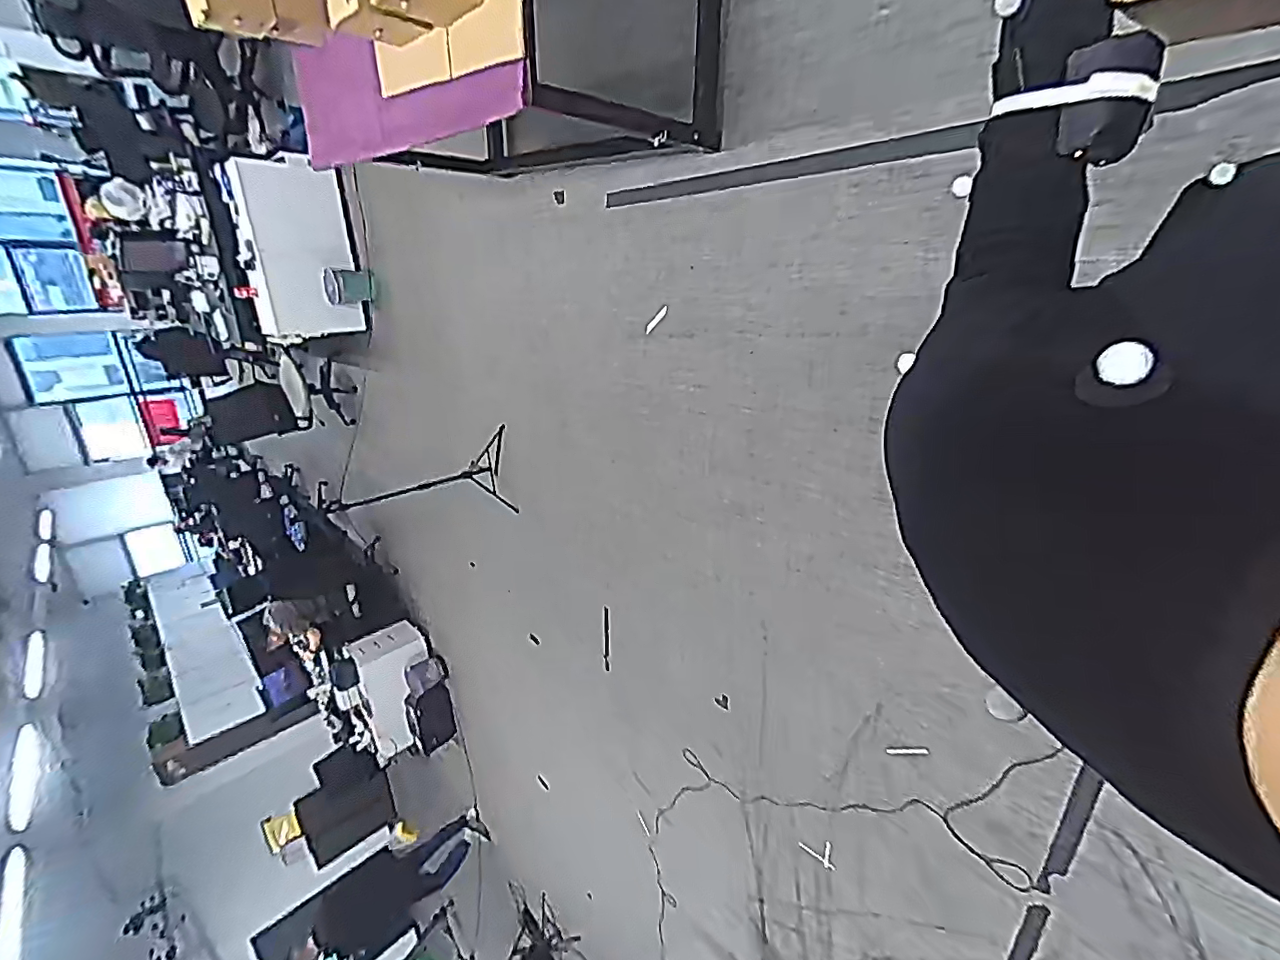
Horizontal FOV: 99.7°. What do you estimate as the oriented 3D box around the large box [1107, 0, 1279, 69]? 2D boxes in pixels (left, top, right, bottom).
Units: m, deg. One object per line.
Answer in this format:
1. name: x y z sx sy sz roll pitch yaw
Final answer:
1. large box: 0.526 -0.437 0.251 0.408 0.320 0.320 18 127 39
